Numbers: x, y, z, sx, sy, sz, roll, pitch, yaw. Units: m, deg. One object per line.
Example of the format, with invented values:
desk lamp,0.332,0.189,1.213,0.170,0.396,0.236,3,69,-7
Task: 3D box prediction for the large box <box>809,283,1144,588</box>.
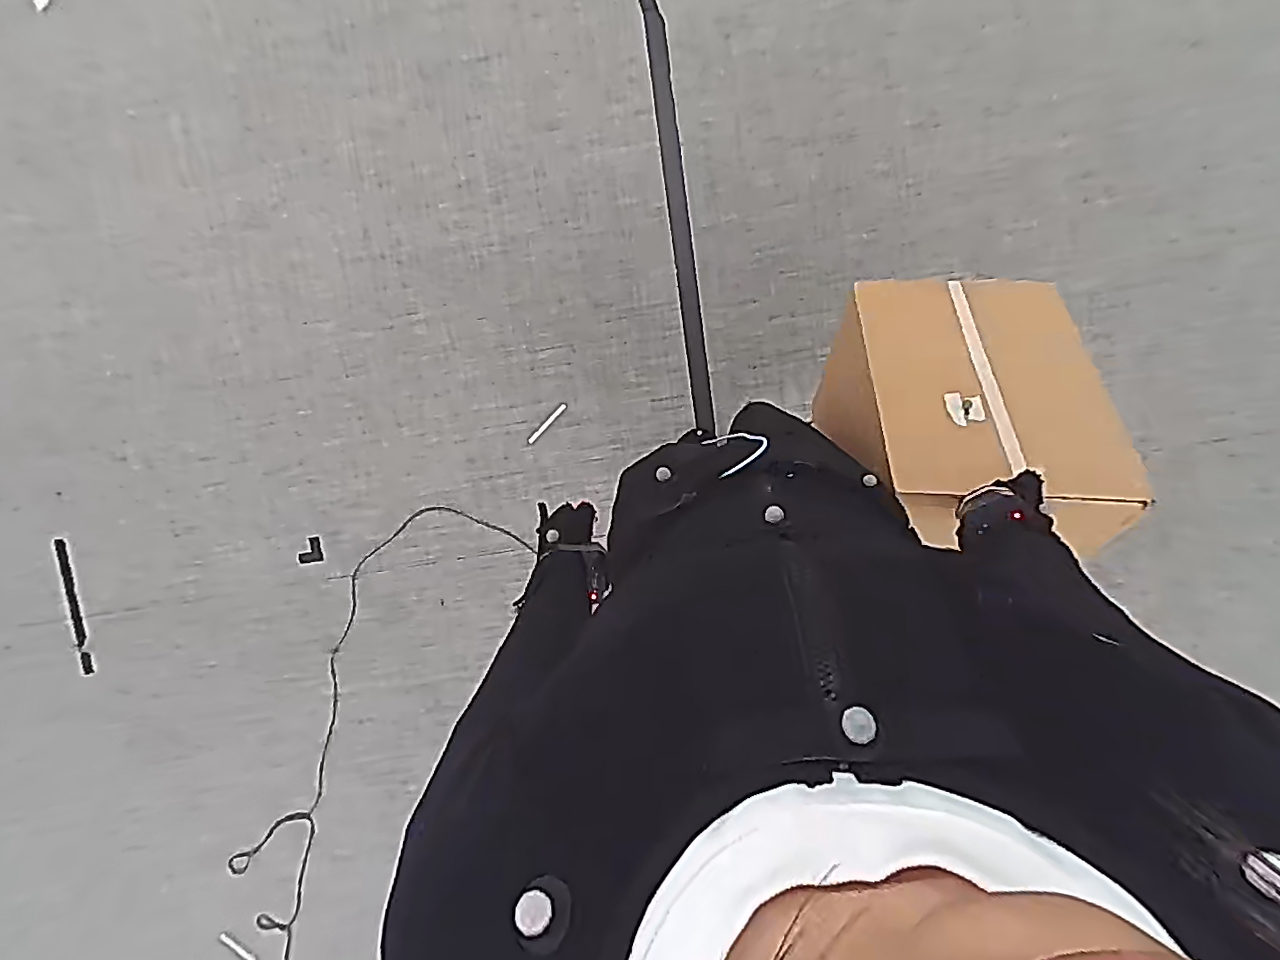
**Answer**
large box,0.483,-0.067,0.896,0.320,0.320,0.408,1,60,6
